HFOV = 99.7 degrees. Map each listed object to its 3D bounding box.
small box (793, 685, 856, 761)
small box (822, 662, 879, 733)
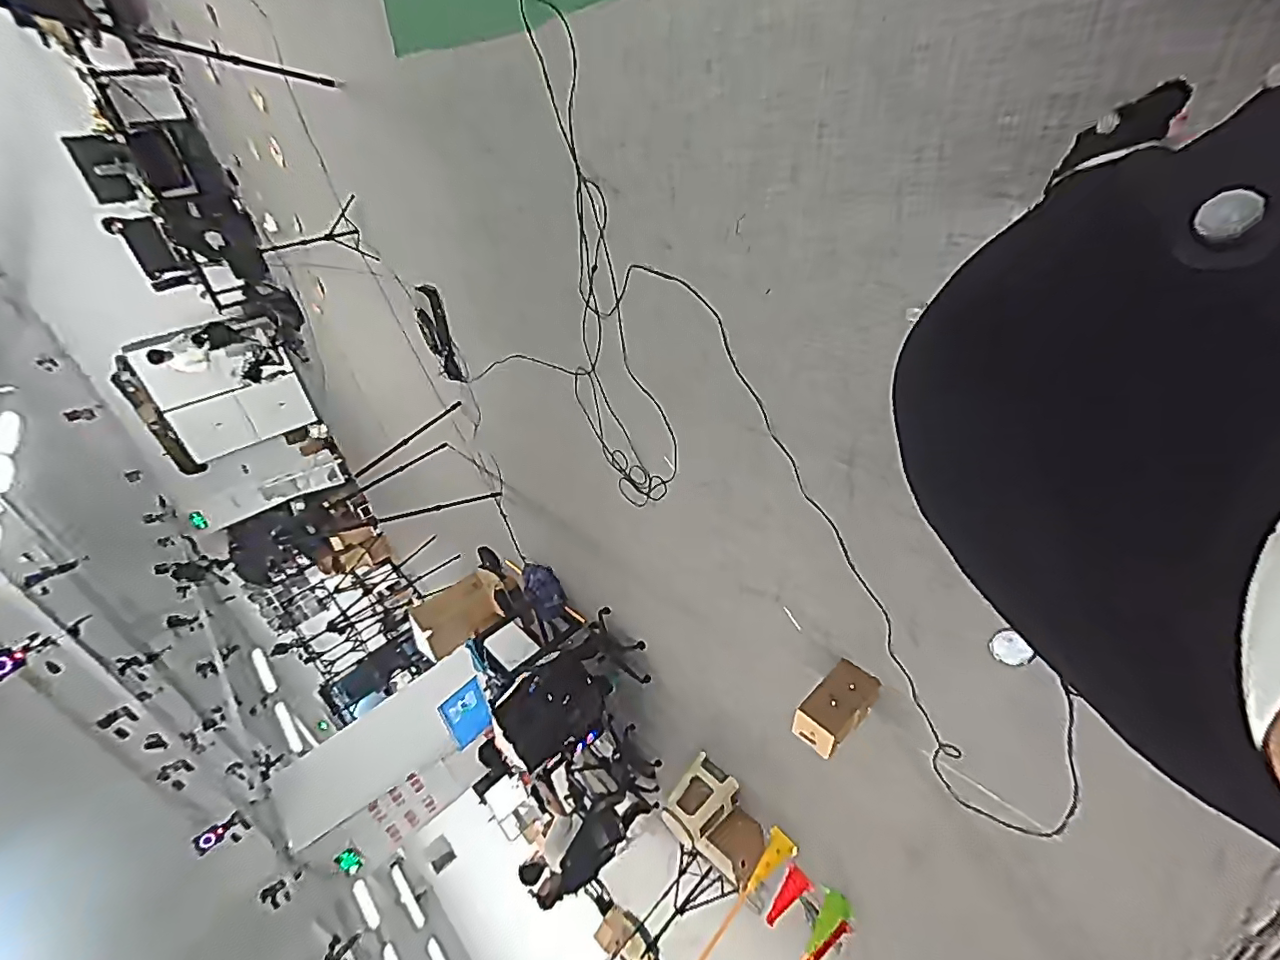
[{"bbox_3d":[0.730,0.958,2.138,0.168,0.176,0.179,31,138,37],"label":"small box"},{"bbox_3d":[0.853,0.887,2.221,0.179,0.176,0.168,29,137,37],"label":"small box"}]
